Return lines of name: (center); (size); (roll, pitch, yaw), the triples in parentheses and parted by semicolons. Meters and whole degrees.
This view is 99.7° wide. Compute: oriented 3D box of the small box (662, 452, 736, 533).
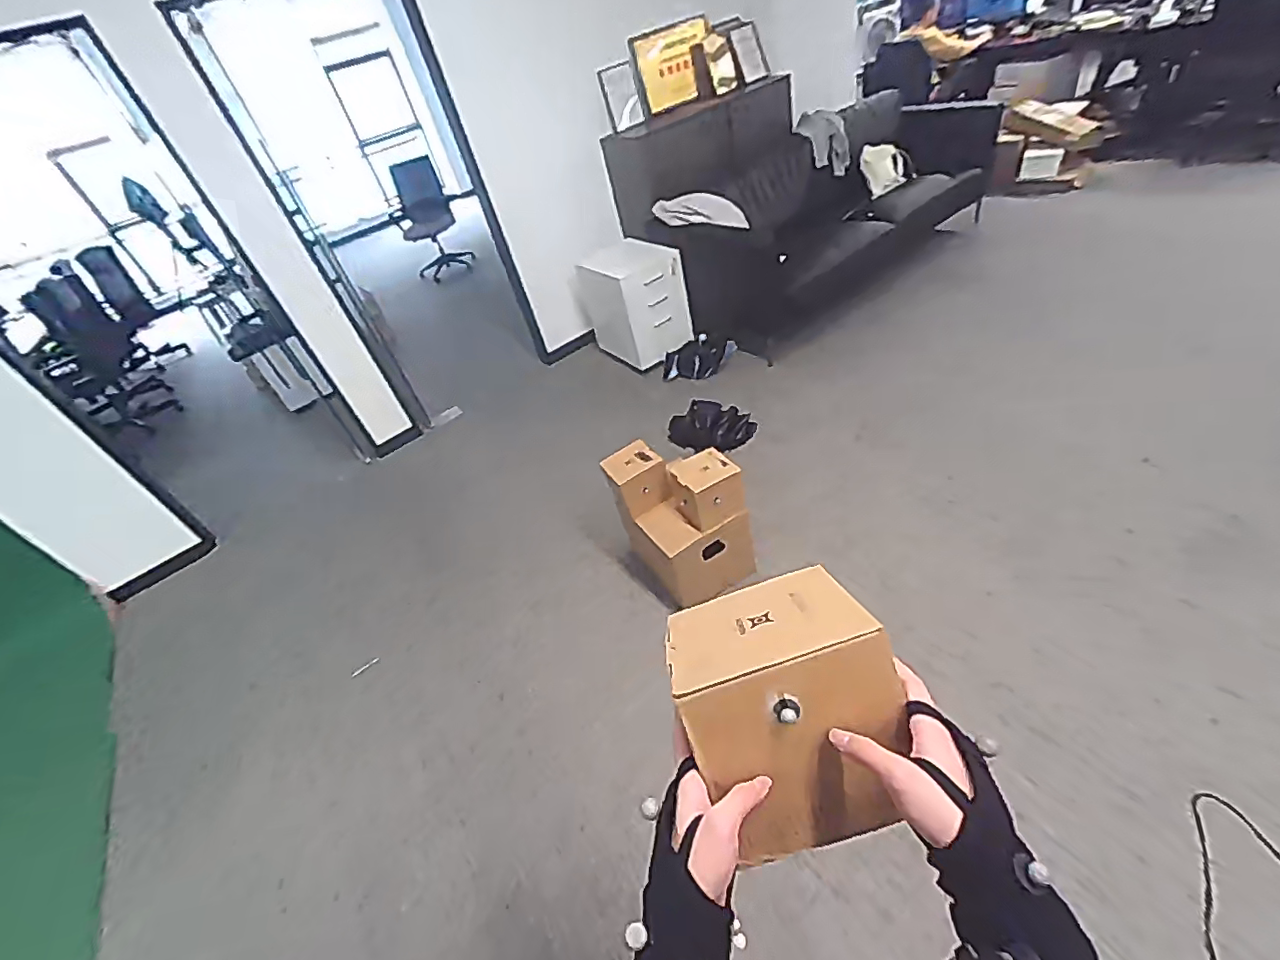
small box: (0.197, 0.044, 1.765); (0.179, 0.176, 0.168); (-27, 39, -16)

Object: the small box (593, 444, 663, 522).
small box: (-0.036, 0.011, 1.883); (0.179, 0.176, 0.168); (-30, 41, -13)

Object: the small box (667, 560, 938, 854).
small box: (0.134, 0.197, 0.497); (0.179, 0.176, 0.168); (-18, 7, 3)
